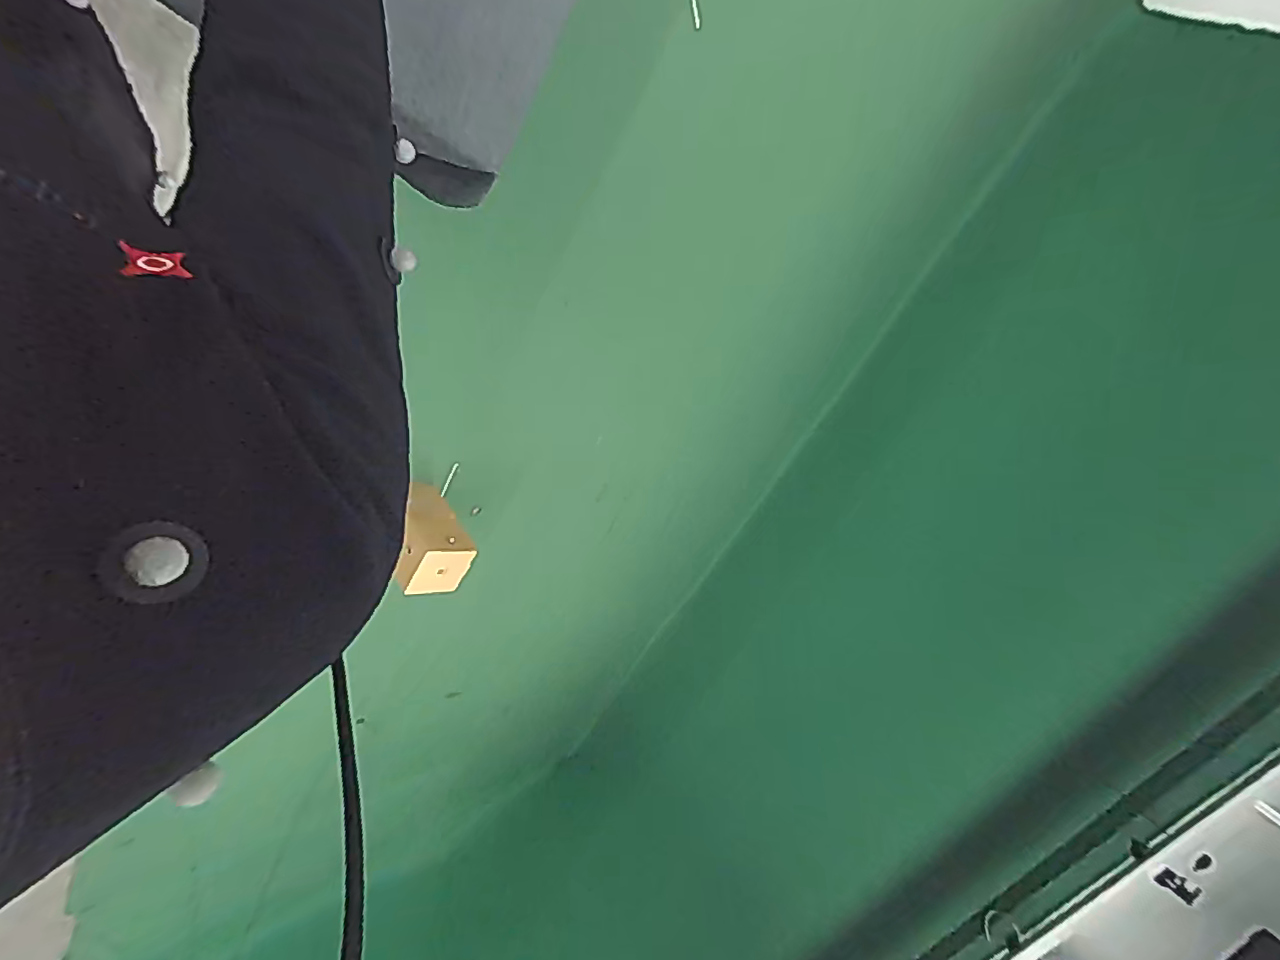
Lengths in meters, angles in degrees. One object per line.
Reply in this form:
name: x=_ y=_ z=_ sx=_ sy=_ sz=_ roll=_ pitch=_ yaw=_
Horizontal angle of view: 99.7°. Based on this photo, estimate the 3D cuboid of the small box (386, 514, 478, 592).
small box: x=-0.636 y=0.218 z=1.642 sx=0.179 sy=0.176 sz=0.168 roll=9 pitch=119 yaw=-55
